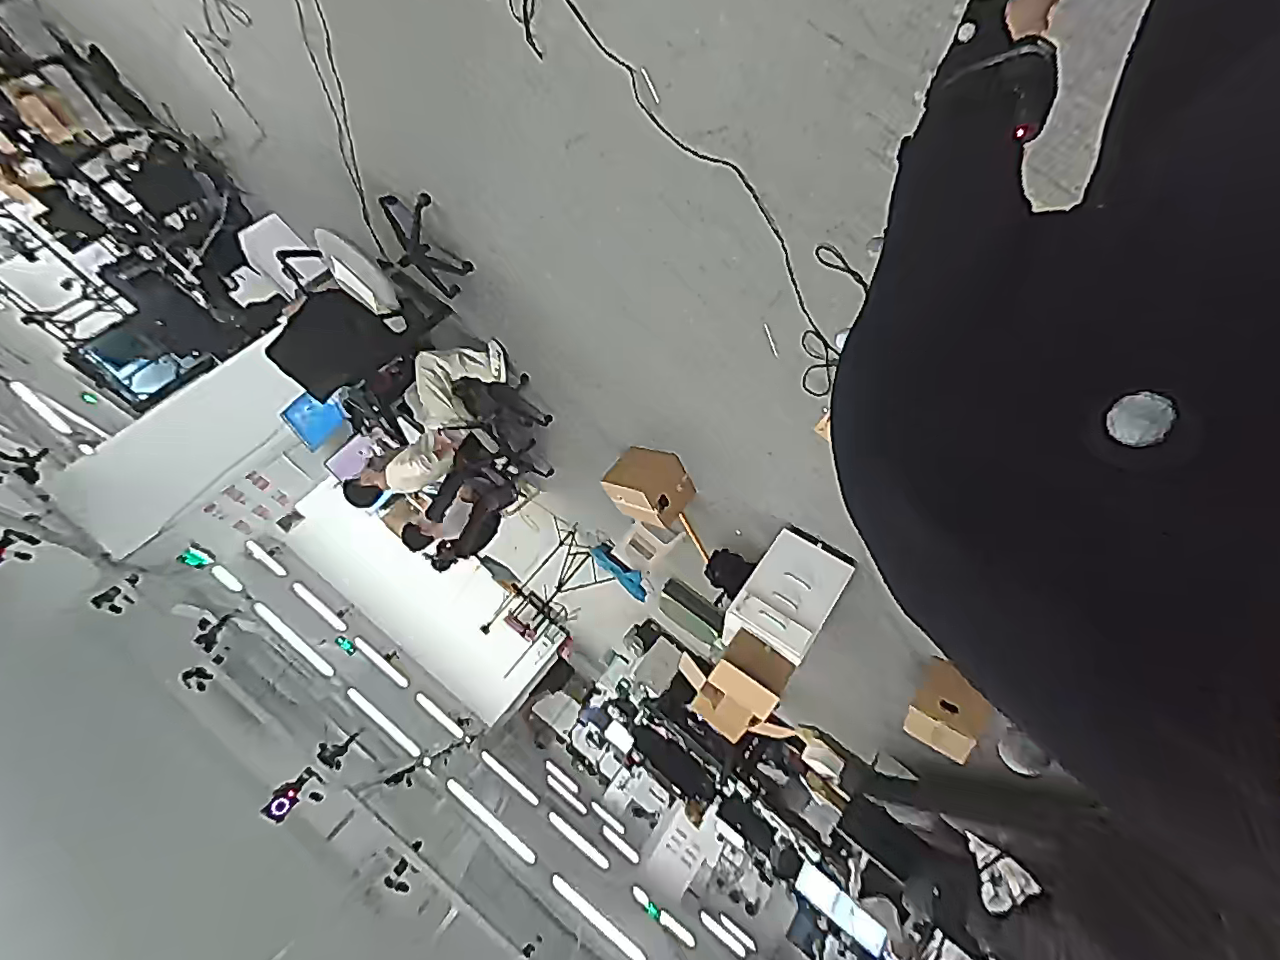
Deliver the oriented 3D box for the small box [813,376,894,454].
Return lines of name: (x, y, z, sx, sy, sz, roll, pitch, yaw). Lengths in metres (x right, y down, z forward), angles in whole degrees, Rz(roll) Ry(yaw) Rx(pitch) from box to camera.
small box: (0.747, -0.229, 1.883, 0.179, 0.176, 0.168, 36, 156, 8)
